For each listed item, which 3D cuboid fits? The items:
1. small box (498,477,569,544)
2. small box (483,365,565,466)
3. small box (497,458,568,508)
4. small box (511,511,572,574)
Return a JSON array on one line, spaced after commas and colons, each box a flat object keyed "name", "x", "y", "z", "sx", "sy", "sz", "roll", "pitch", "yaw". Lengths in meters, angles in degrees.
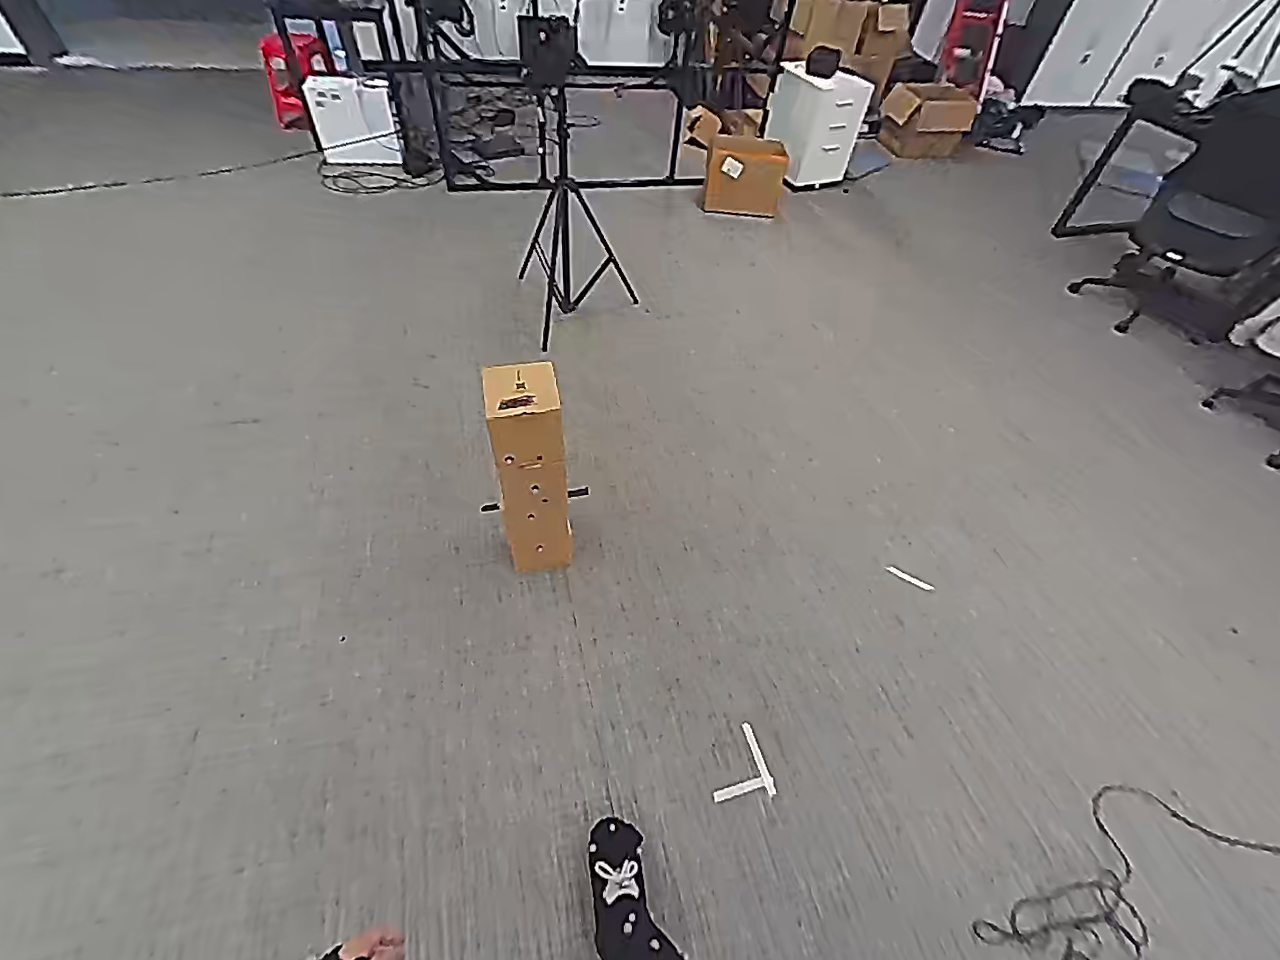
[{"name": "small box", "x": -0.300, "y": 0.067, "z": 1.532, "sx": 0.179, "sy": 0.176, "sz": 0.168, "roll": -7, "pitch": 52, "yaw": -10}, {"name": "small box", "x": -0.273, "y": -0.147, "z": 1.285, "sx": 0.168, "sy": 0.176, "sz": 0.179, "roll": -8, "pitch": 51, "yaw": -11}, {"name": "small box", "x": -0.281, "y": -0.040, "z": 1.410, "sx": 0.168, "sy": 0.176, "sz": 0.179, "roll": -7, "pitch": 52, "yaw": -11}, {"name": "small box", "x": -0.306, "y": 0.169, "z": 1.662, "sx": 0.179, "sy": 0.176, "sz": 0.168, "roll": -9, "pitch": 52, "yaw": -12}]
